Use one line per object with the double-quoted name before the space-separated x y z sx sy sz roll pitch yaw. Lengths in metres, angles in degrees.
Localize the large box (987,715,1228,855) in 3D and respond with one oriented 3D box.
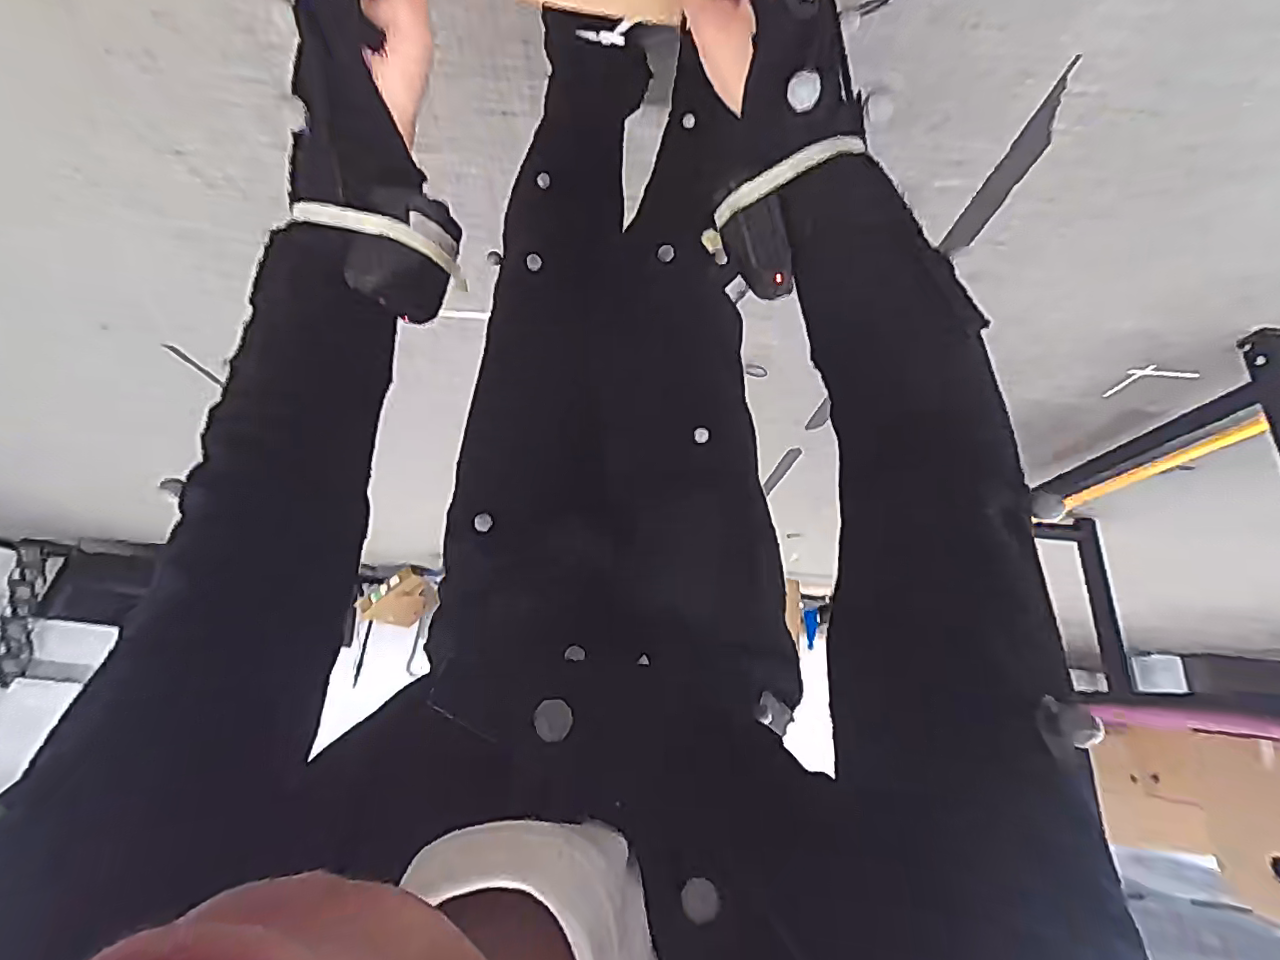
"large box" 1.342 0.882 1.606 0.408 0.320 0.320 3 159 1
